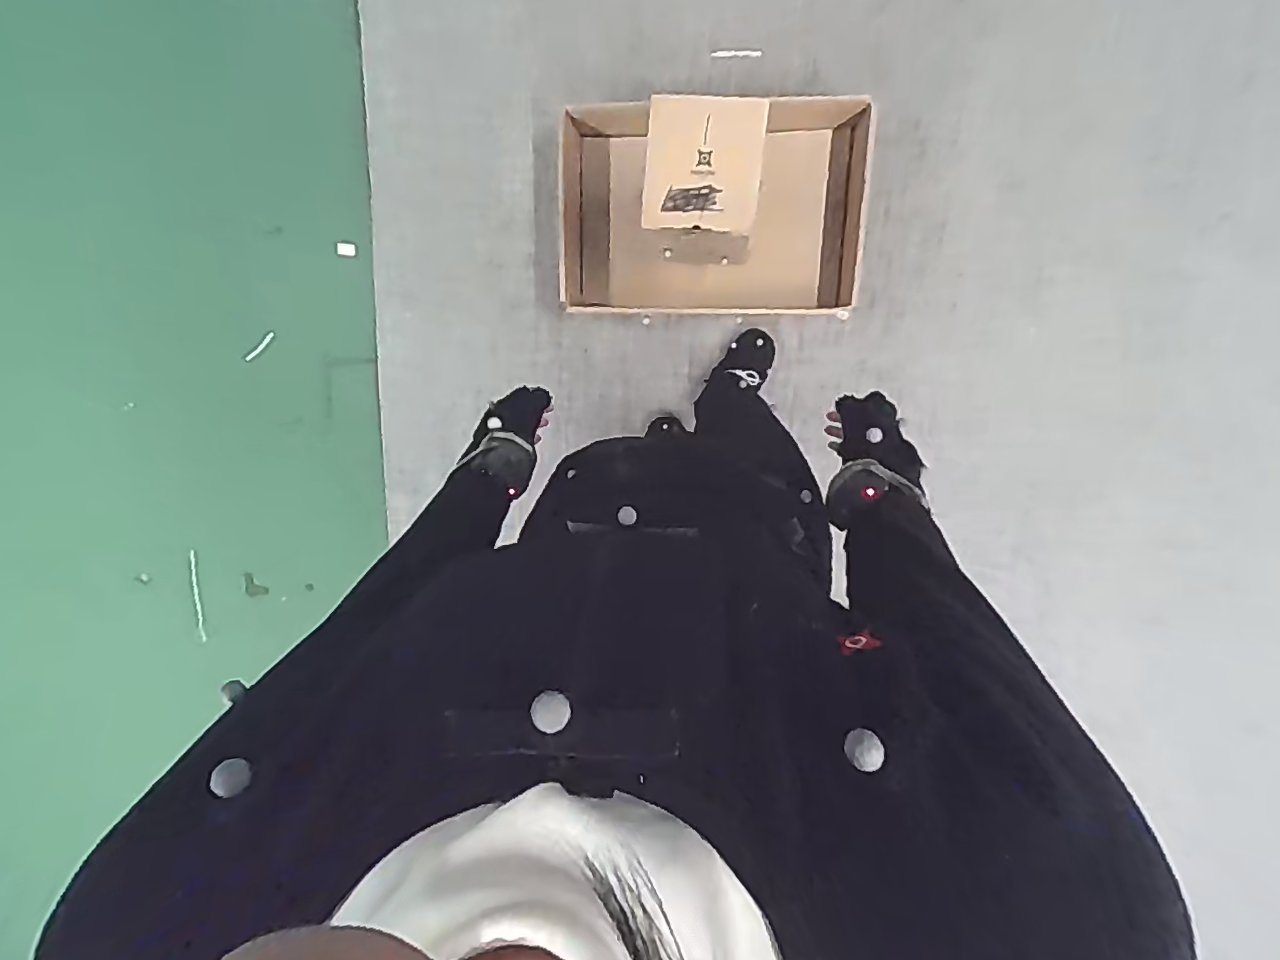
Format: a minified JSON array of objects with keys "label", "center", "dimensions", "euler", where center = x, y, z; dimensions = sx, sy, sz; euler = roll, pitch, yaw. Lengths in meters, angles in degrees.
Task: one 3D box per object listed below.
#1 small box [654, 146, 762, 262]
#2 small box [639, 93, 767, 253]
[{"label":"small box","center":[0.121,-0.500,0.987],"dimensions":[0.179,0.176,0.168],"euler":[2,103,7]},{"label":"small box","center":[0.097,-0.465,0.845],"dimensions":[0.168,0.176,0.179],"euler":[7,102,6]}]
